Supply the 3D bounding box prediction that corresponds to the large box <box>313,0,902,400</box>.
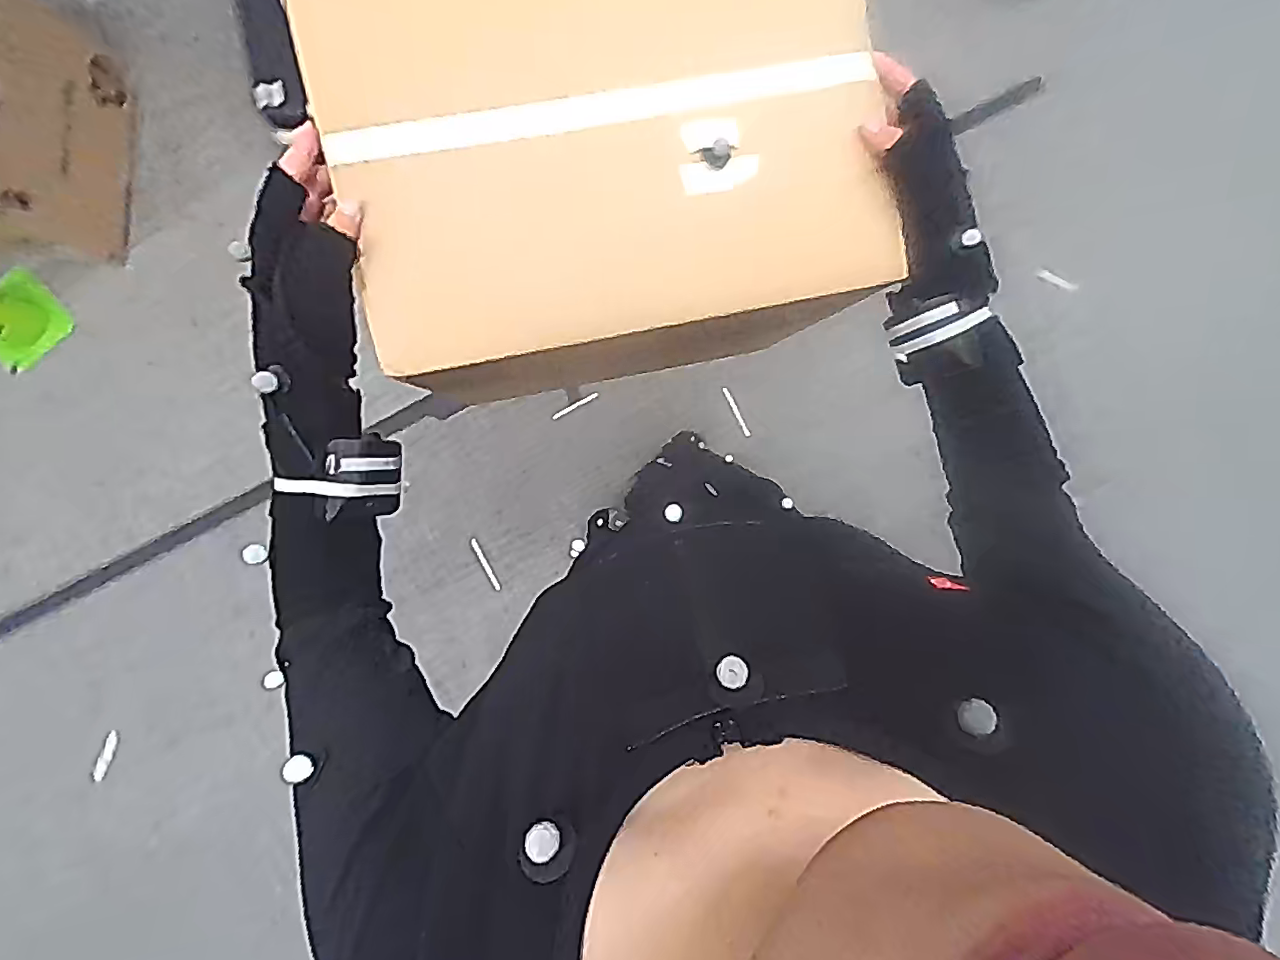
[{"bbox_3d":[-0.031,-0.282,0.547,0.408,0.320,0.320,-12,96,-7],"label":"large box"}]
